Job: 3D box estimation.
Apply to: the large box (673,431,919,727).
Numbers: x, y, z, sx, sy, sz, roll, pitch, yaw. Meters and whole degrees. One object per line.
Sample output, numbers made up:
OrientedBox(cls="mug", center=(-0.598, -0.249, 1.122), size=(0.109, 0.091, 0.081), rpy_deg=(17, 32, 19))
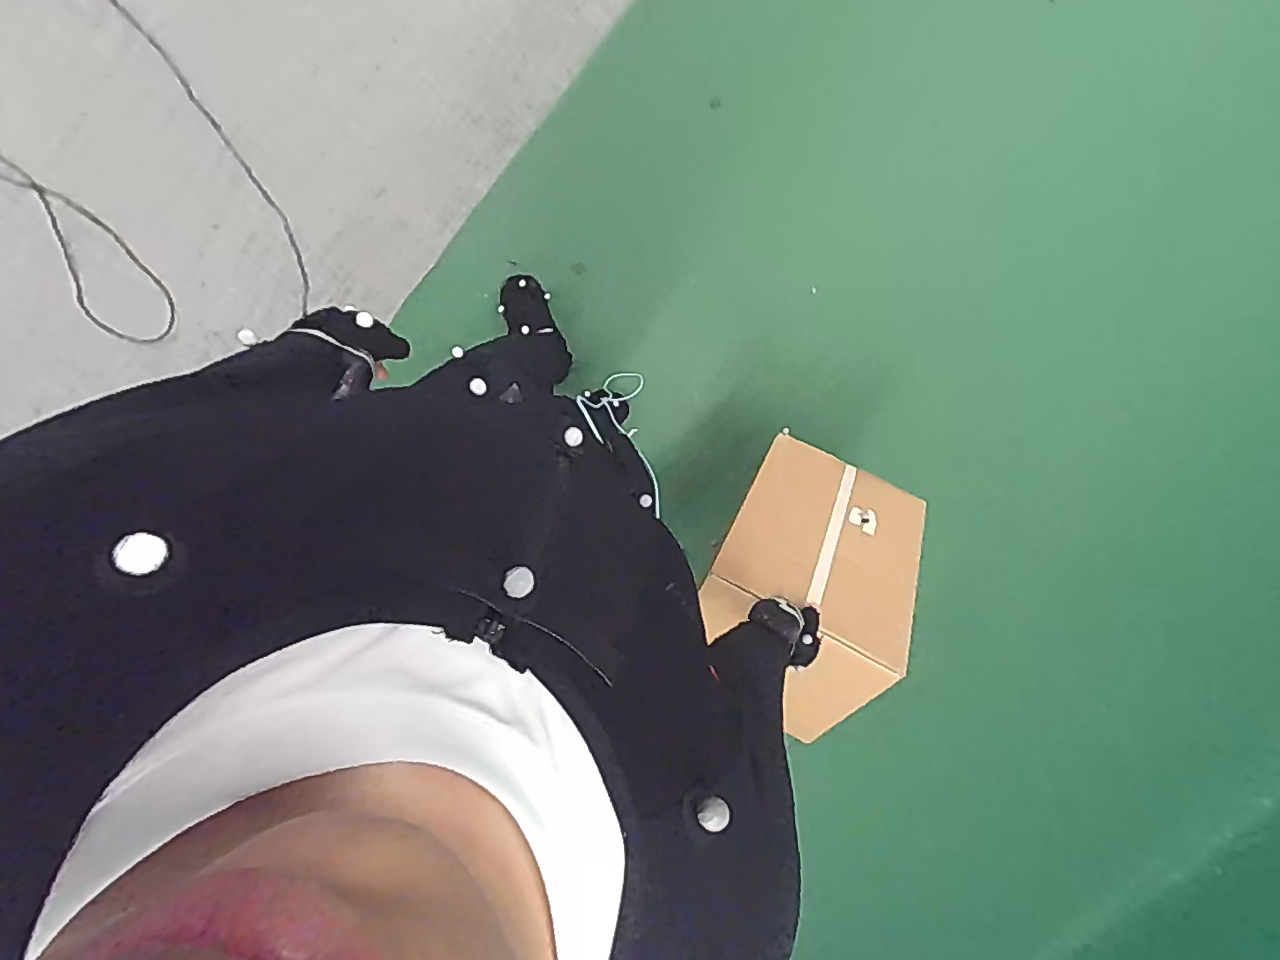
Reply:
OrientedBox(cls="large box", center=(0.303, 0.184, 1.055), size=(0.320, 0.408, 0.320), rpy_deg=(27, 137, 9))
